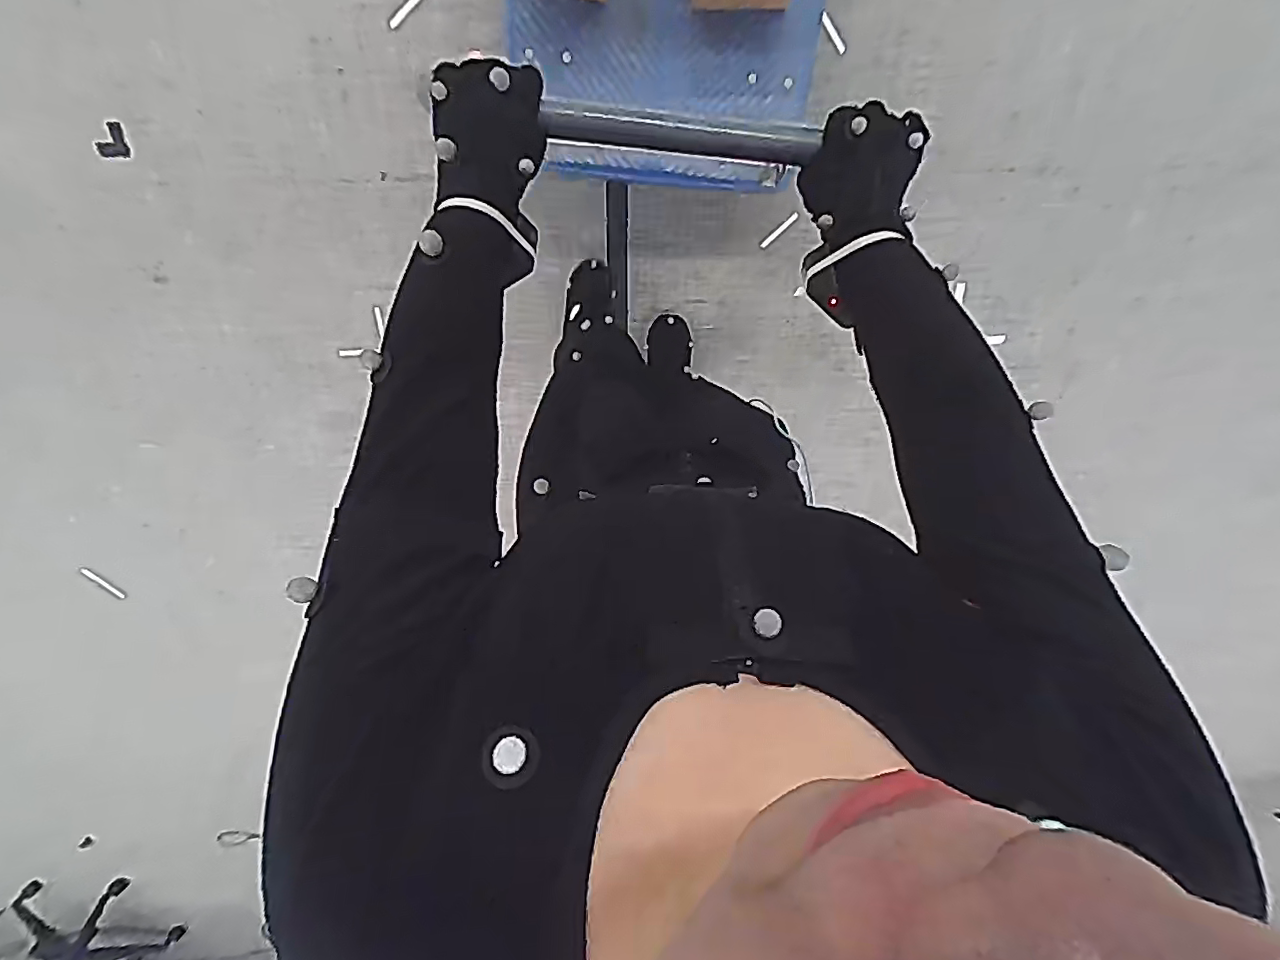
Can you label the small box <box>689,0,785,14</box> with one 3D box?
[{"bbox_3d":[0.173,-0.890,0.879,0.179,0.176,0.168,0,115,-1],"label":"small box"}]
